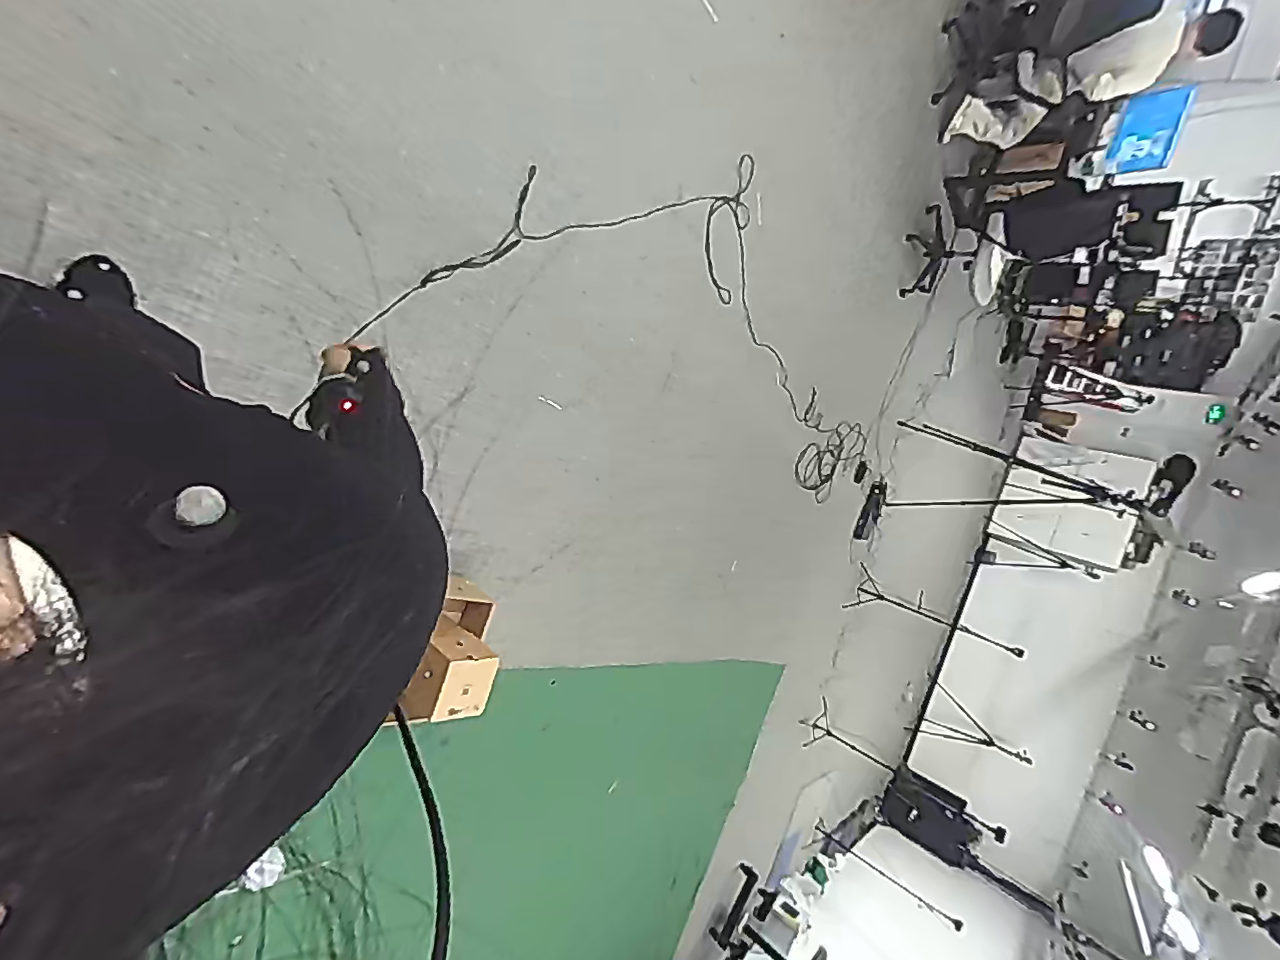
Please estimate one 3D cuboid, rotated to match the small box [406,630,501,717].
[{"bbox_3d":[-0.528,0.534,1.521,0.168,0.176,0.179,18,90,-50],"label":"small box"}]
